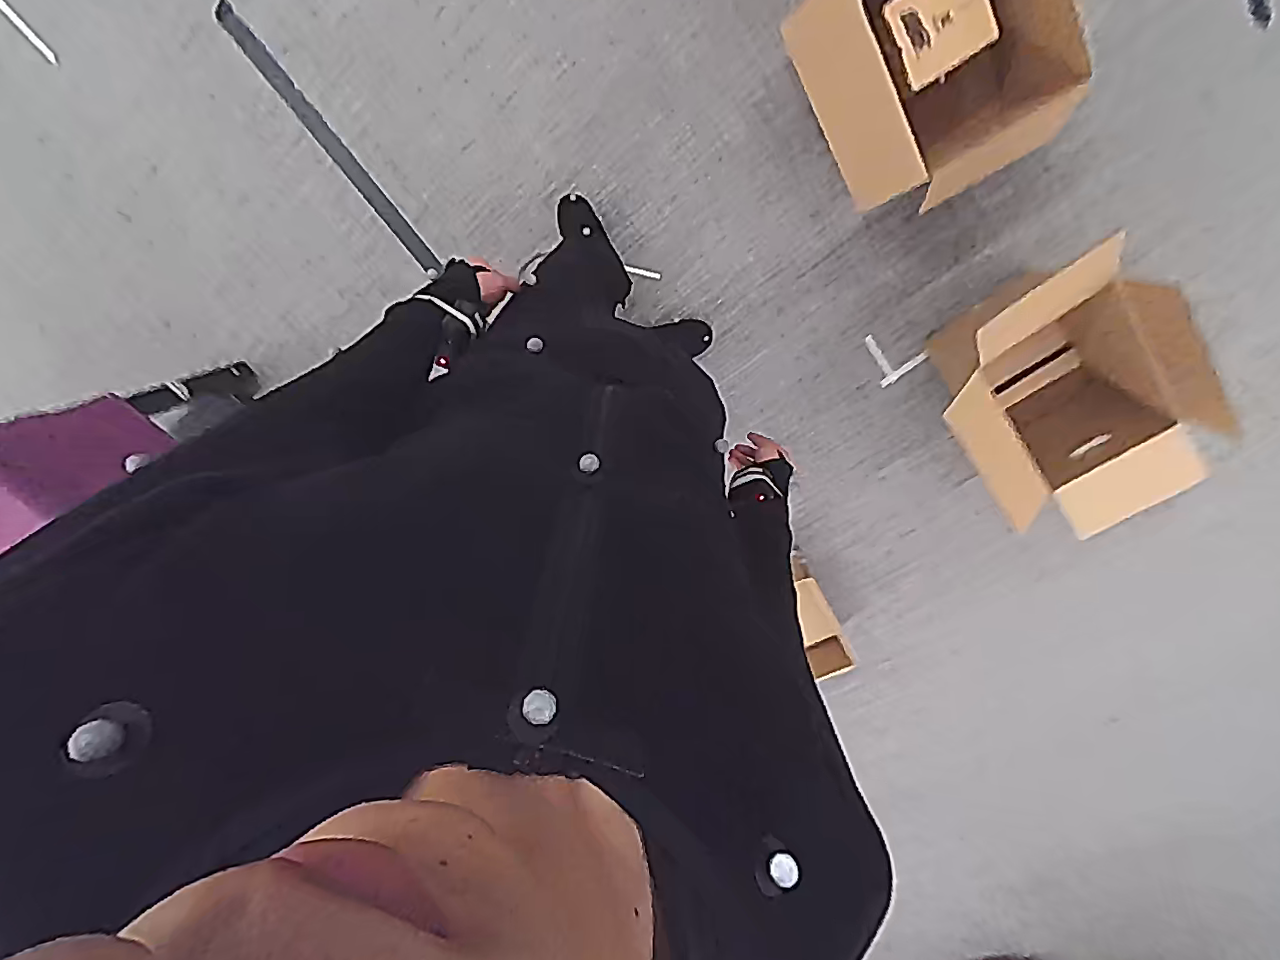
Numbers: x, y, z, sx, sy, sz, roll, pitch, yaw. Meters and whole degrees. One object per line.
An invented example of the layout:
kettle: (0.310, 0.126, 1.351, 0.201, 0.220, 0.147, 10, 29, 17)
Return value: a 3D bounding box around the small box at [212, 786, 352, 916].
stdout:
small box: (-0.795, 0.835, 1.229, 0.179, 0.176, 0.168, -29, 109, 15)
